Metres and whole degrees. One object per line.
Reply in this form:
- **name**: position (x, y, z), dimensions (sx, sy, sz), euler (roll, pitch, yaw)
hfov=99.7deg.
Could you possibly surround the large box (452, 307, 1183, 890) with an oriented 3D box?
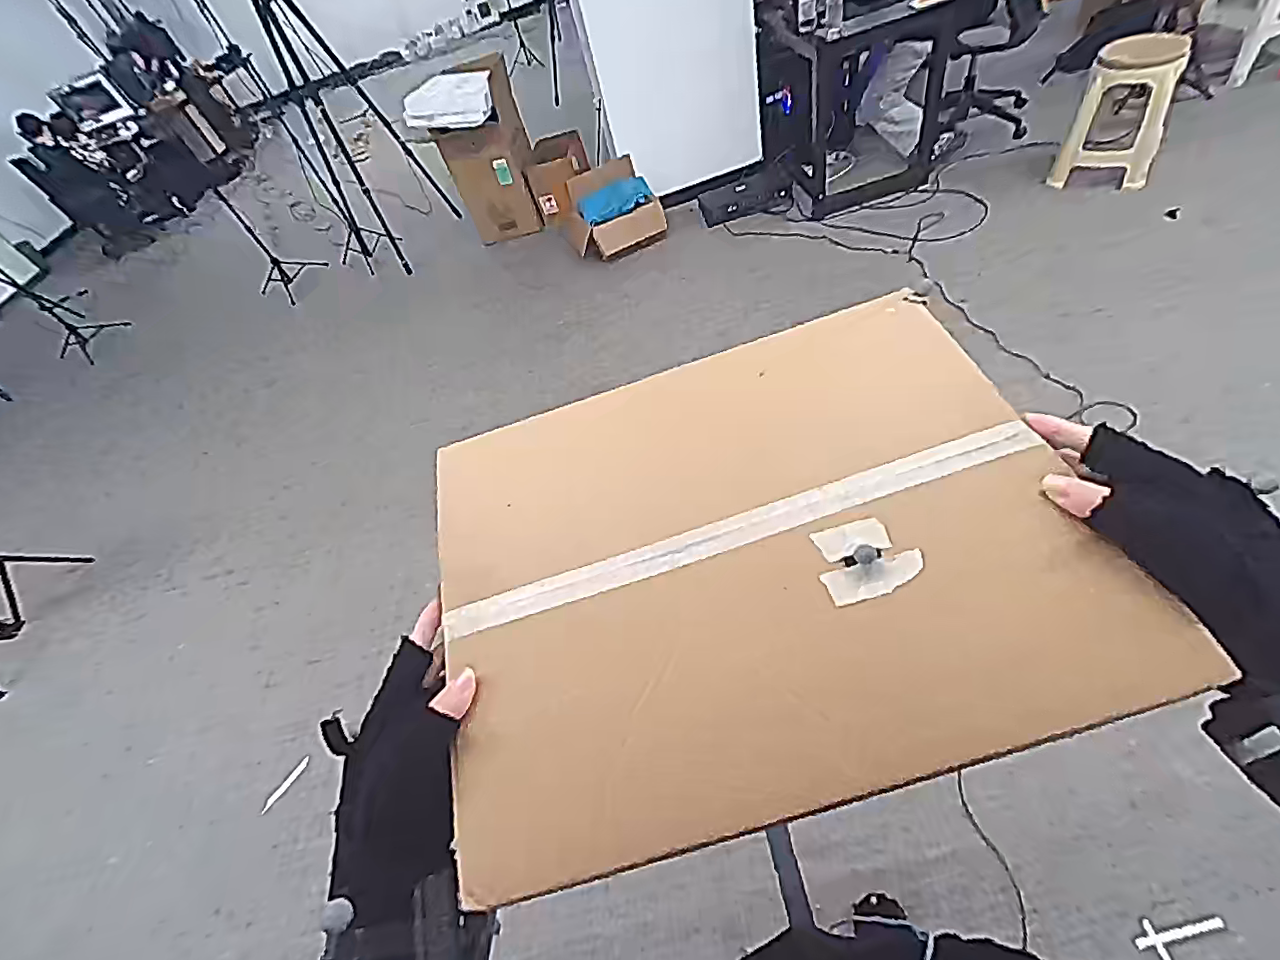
- **large box**: position (0.094, 0.116, 0.495), dimensions (0.408, 0.320, 0.320), euler (-19, 57, 2)
